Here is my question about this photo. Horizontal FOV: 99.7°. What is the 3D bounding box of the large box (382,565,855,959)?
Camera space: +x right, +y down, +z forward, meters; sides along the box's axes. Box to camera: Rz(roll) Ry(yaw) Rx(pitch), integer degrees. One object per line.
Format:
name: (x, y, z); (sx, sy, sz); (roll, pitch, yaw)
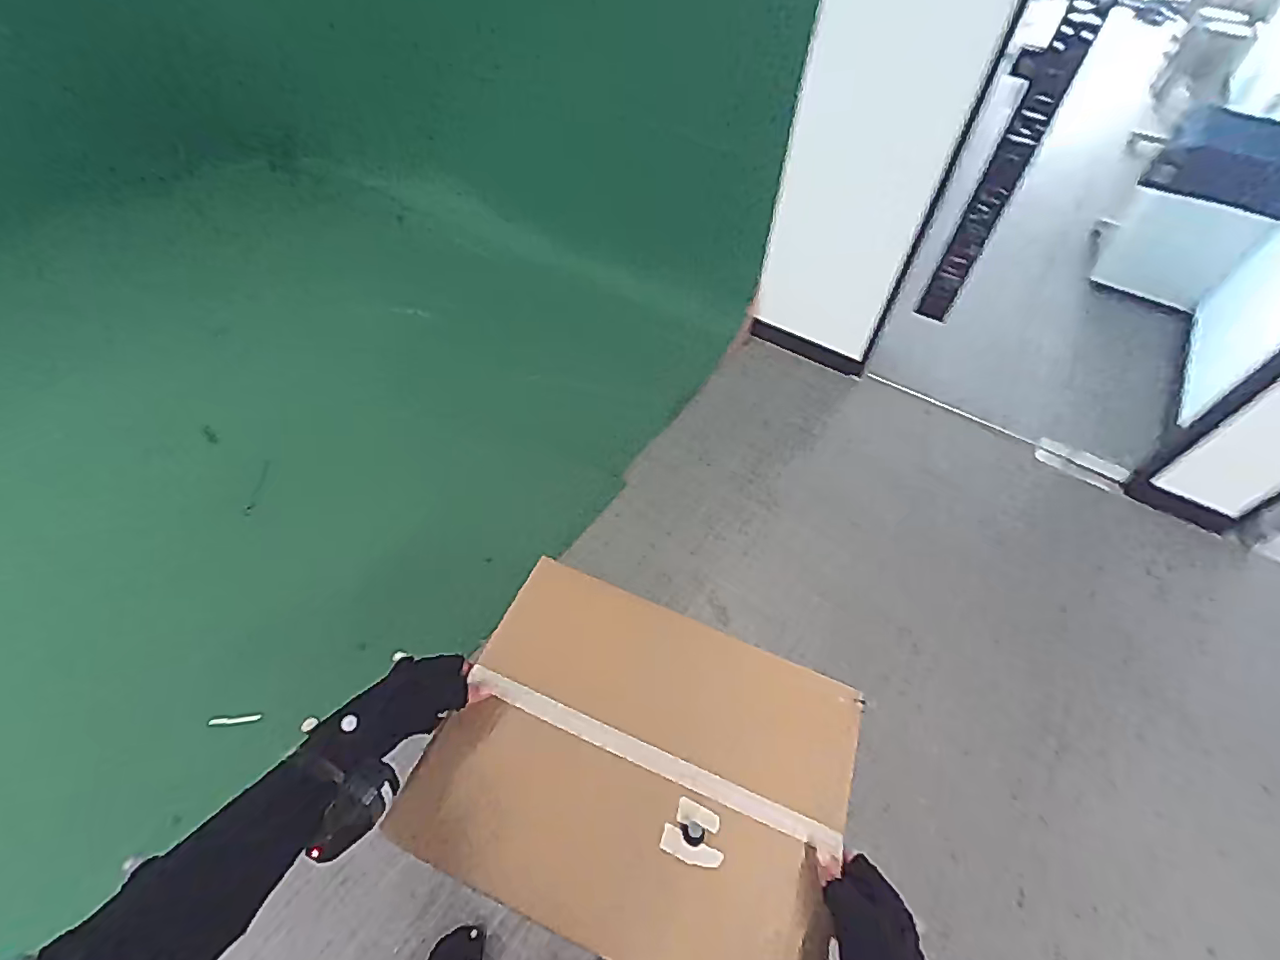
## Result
large box: (-0.013, 0.367, 0.659); (0.408, 0.320, 0.320); (21, 53, 9)
